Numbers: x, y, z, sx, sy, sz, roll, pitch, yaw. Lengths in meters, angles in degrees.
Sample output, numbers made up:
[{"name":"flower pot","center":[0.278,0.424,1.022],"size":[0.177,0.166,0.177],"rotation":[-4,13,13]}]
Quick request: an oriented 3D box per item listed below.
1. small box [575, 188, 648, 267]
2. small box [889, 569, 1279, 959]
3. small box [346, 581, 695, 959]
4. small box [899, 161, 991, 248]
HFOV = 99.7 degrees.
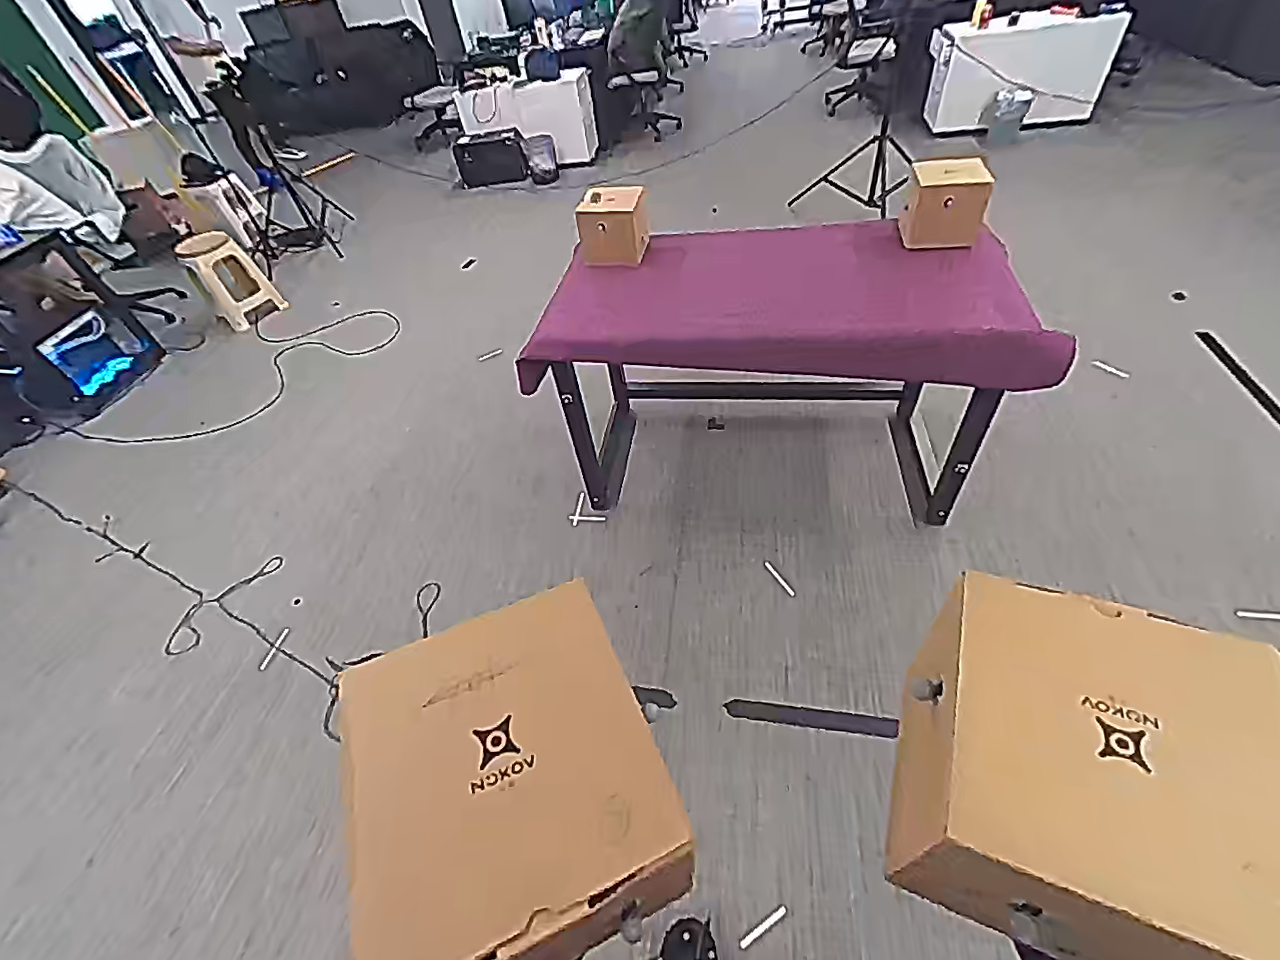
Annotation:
[{"name":"small box","center":[-0.081,-0.770,1.656],"size":[0.179,0.176,0.168],"rotation":[5,51,12]},{"name":"small box","center":[0.273,0.194,0.357],"size":[0.168,0.176,0.179],"rotation":[13,50,21]},{"name":"small box","center":[-0.074,0.207,0.365],"size":[0.168,0.176,0.179],"rotation":[-19,47,-16]},{"name":"small box","center":[0.826,-0.753,1.487],"size":[0.179,0.176,0.168],"rotation":[3,49,11]}]
